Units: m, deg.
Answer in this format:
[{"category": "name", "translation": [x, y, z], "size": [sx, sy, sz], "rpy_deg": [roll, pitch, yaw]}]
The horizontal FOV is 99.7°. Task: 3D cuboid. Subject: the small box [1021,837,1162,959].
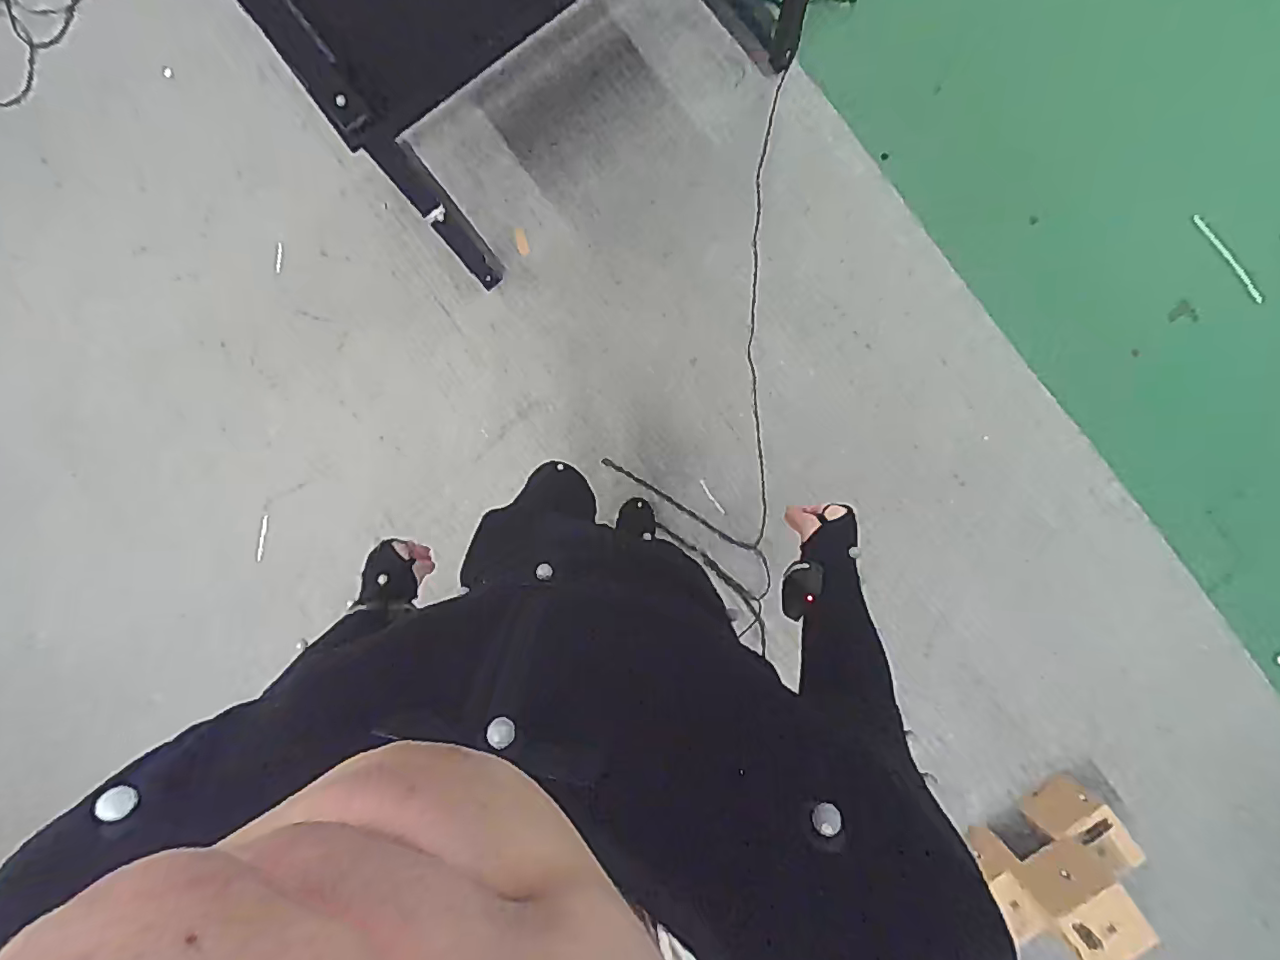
[{"category": "small box", "translation": [1.079, 1.028, 1.316], "size": [0.179, 0.176, 0.168], "rpy_deg": [-34, 88, 0]}]
